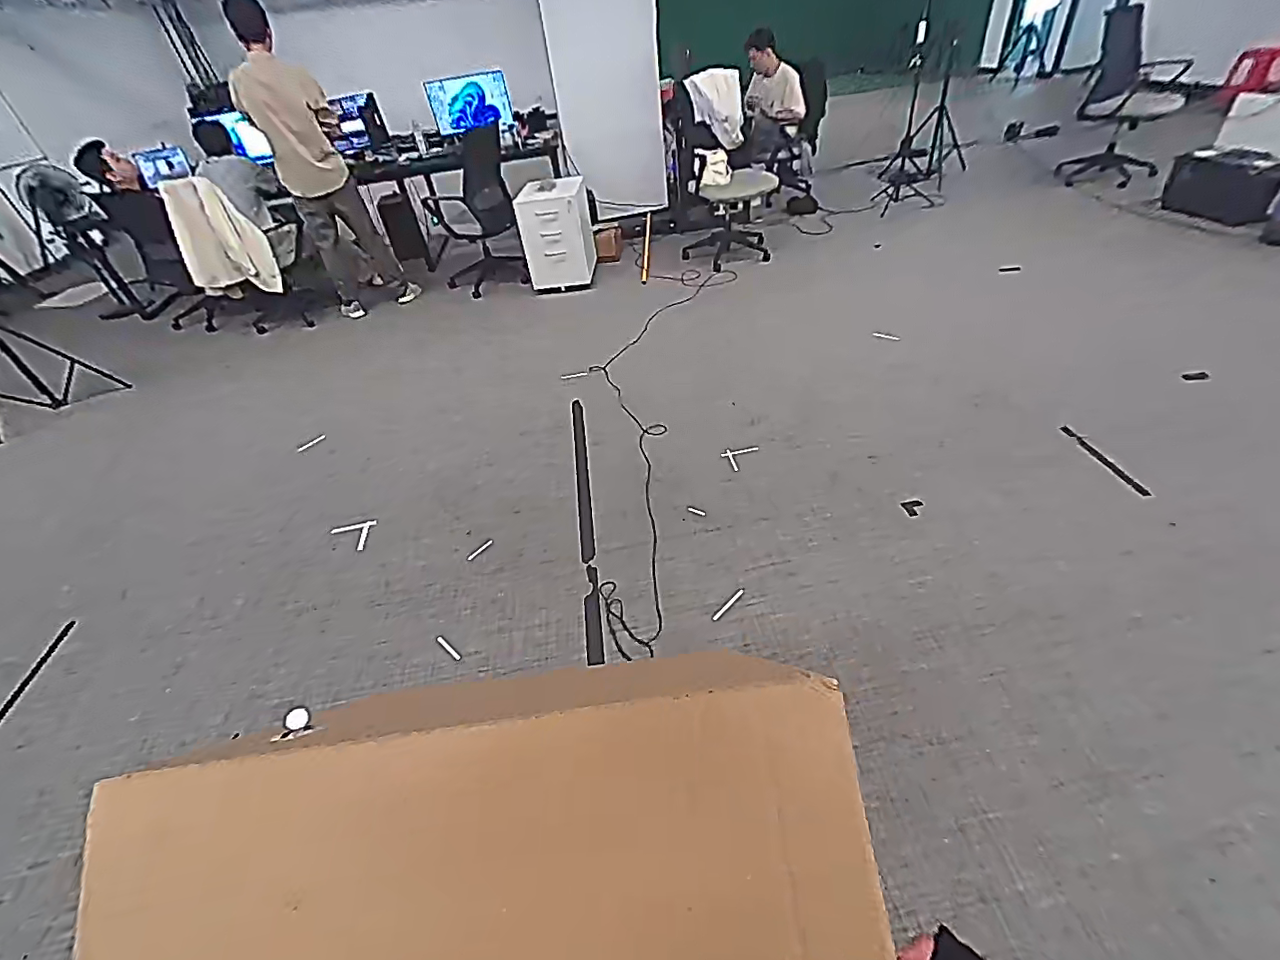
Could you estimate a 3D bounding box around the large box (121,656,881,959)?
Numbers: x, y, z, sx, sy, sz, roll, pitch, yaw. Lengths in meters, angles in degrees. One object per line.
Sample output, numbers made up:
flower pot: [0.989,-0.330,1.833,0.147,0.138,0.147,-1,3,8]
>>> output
large box: [-0.070,0.328,0.419,0.408,0.320,0.320,-7,77,-3]
